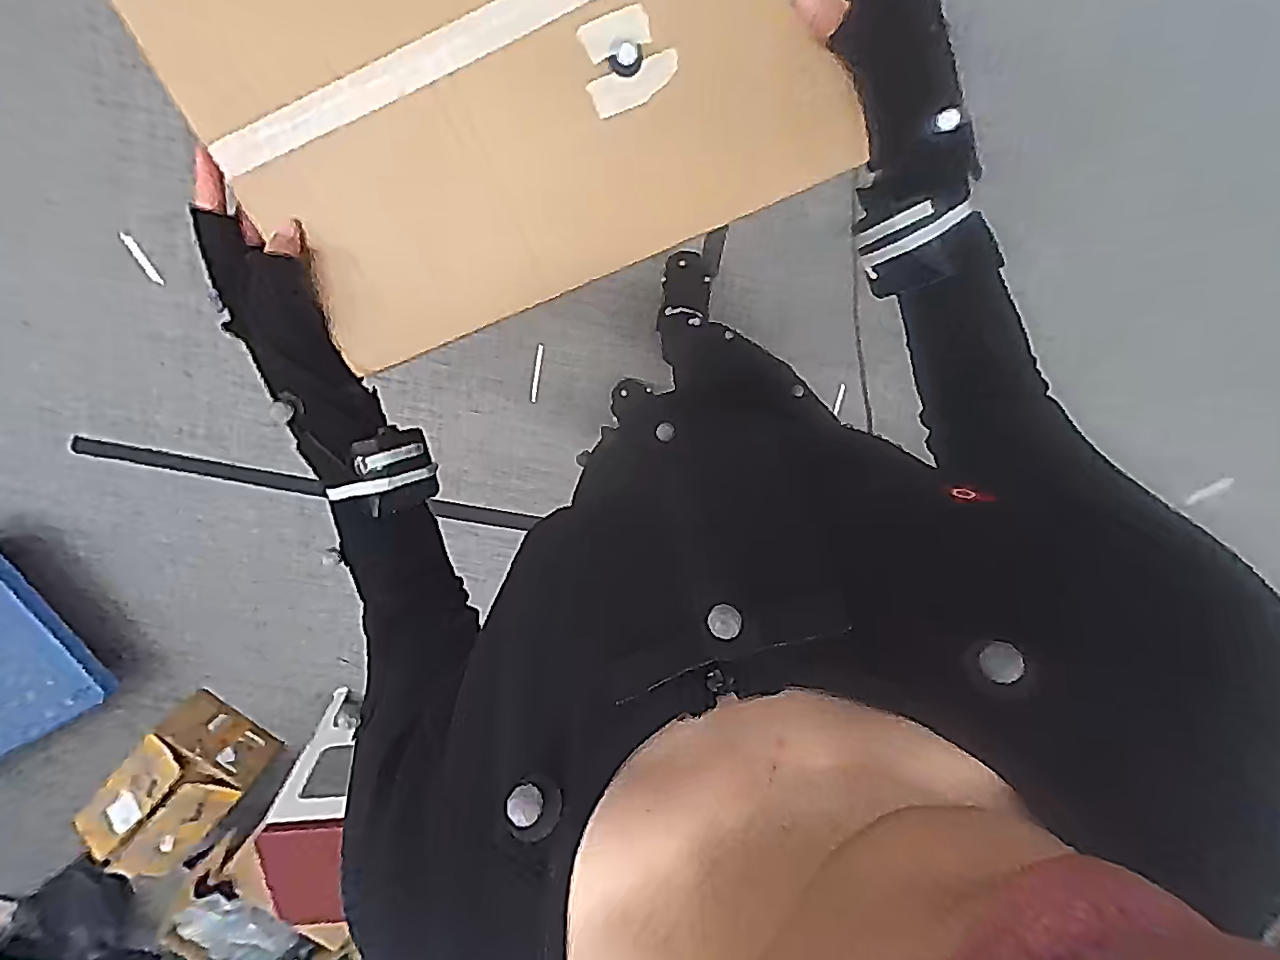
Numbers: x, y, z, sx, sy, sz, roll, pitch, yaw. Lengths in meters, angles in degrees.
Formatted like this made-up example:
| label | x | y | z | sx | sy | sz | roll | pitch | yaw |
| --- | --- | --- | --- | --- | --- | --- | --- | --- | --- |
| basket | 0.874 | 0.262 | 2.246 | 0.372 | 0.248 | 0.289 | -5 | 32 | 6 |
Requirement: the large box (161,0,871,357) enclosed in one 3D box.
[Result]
| label | x | y | z | sx | sy | sz | roll | pitch | yaw |
| --- | --- | --- | --- | --- | --- | --- | --- | --- | --- |
| large box | -0.084 | -0.349 | 0.474 | 0.408 | 0.320 | 0.320 | -20 | 115 | 5 |
